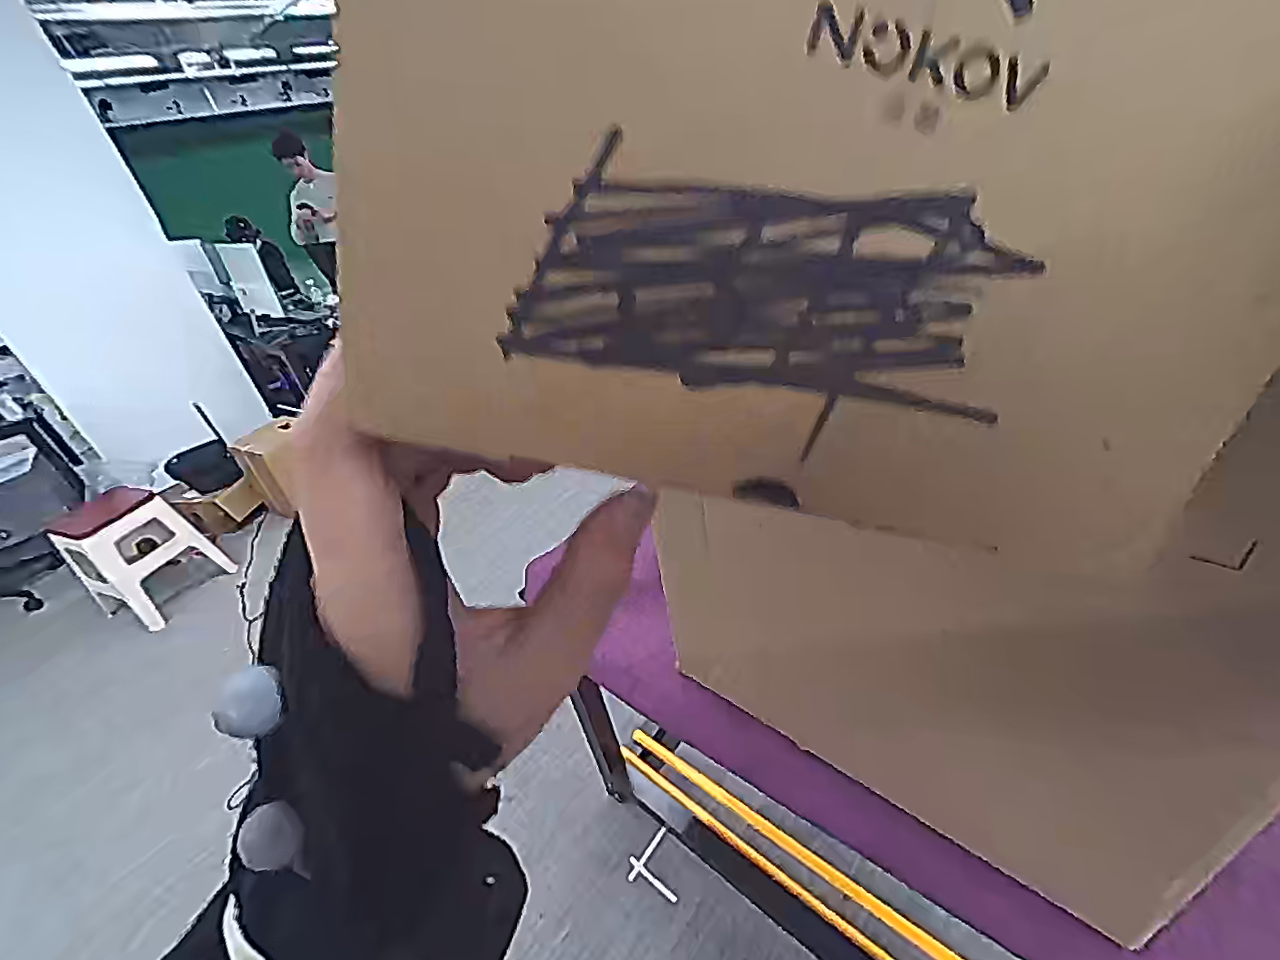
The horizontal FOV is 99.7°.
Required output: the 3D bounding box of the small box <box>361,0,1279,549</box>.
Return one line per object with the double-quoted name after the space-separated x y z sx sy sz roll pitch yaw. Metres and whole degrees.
0.043 -0.110 0.151 0.168 0.179 0.176 11 25 -6 "small box"
